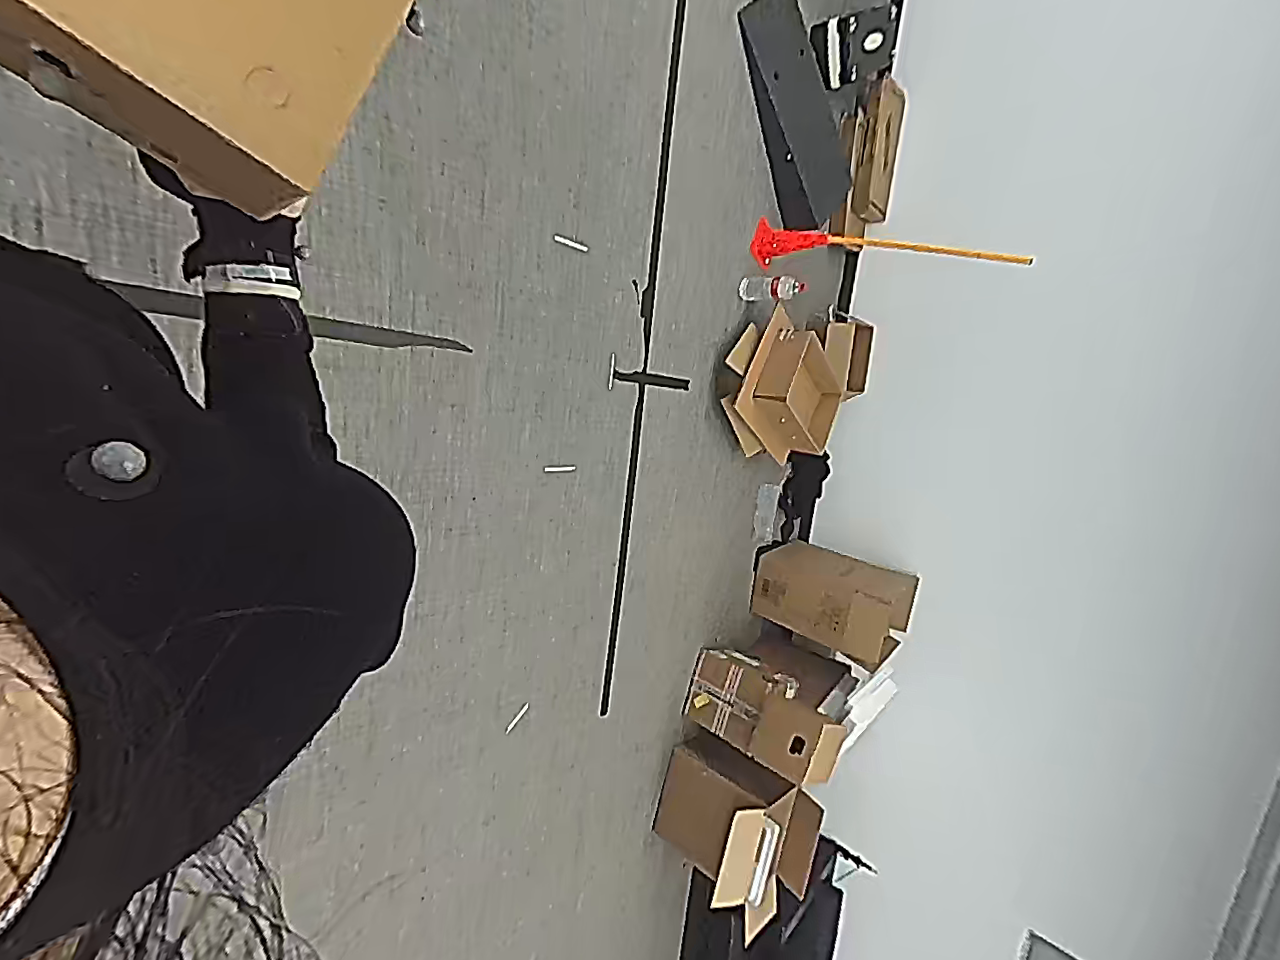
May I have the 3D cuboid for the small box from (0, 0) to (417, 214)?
[{"bbox_3d":[-0.246,-0.278,0.301,0.168,0.176,0.179,28,84,-45],"label":"small box"}]
